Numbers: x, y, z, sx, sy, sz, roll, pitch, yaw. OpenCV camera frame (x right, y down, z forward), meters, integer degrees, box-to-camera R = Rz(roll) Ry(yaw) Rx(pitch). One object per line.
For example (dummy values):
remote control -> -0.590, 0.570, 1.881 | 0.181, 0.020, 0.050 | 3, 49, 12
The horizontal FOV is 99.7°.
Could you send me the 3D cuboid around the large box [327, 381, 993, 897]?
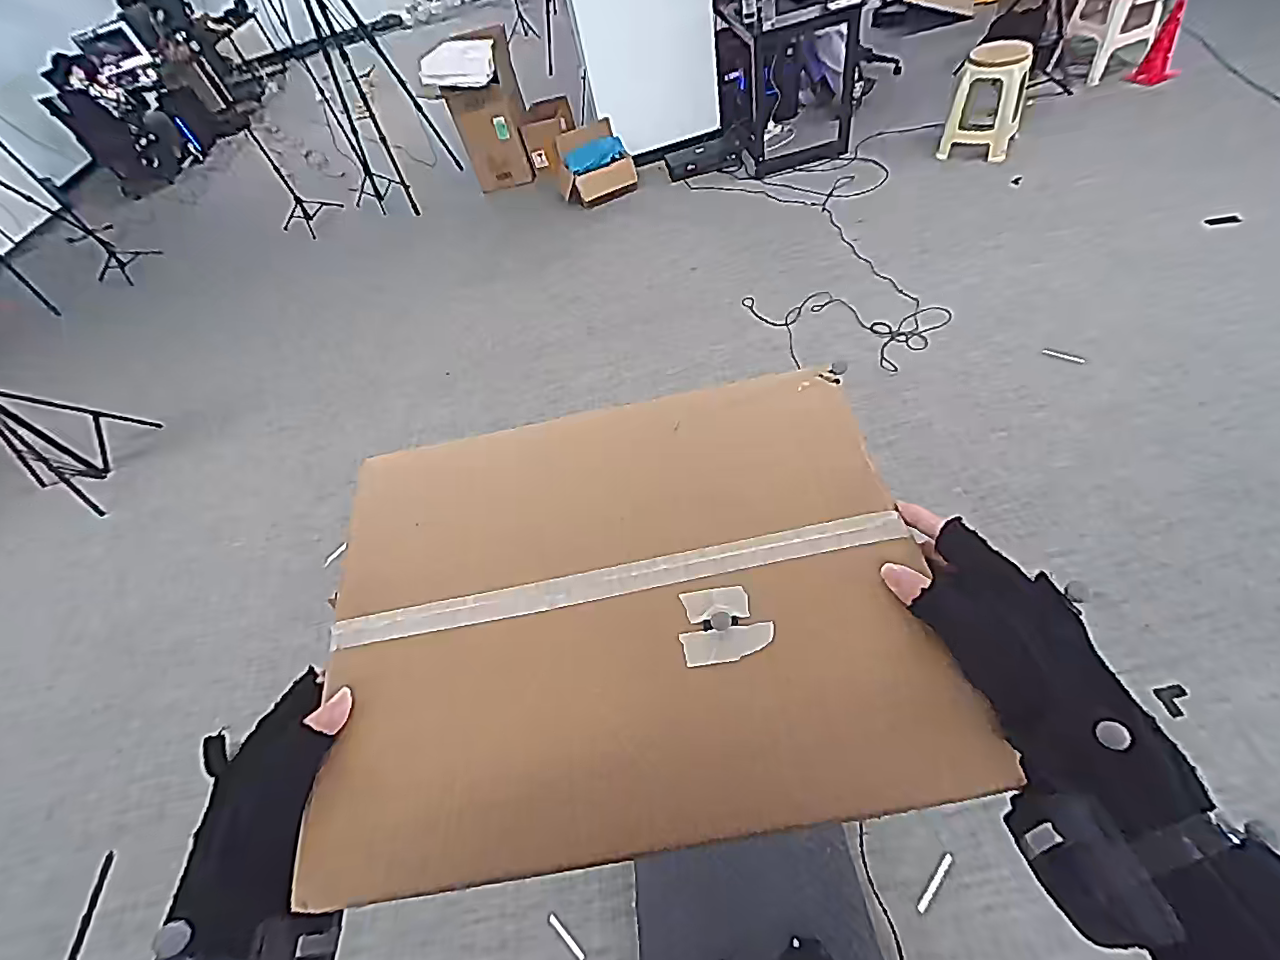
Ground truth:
large box -> 0.005, 0.158, 0.516 | 0.408, 0.320, 0.320 | -11, 57, 2
